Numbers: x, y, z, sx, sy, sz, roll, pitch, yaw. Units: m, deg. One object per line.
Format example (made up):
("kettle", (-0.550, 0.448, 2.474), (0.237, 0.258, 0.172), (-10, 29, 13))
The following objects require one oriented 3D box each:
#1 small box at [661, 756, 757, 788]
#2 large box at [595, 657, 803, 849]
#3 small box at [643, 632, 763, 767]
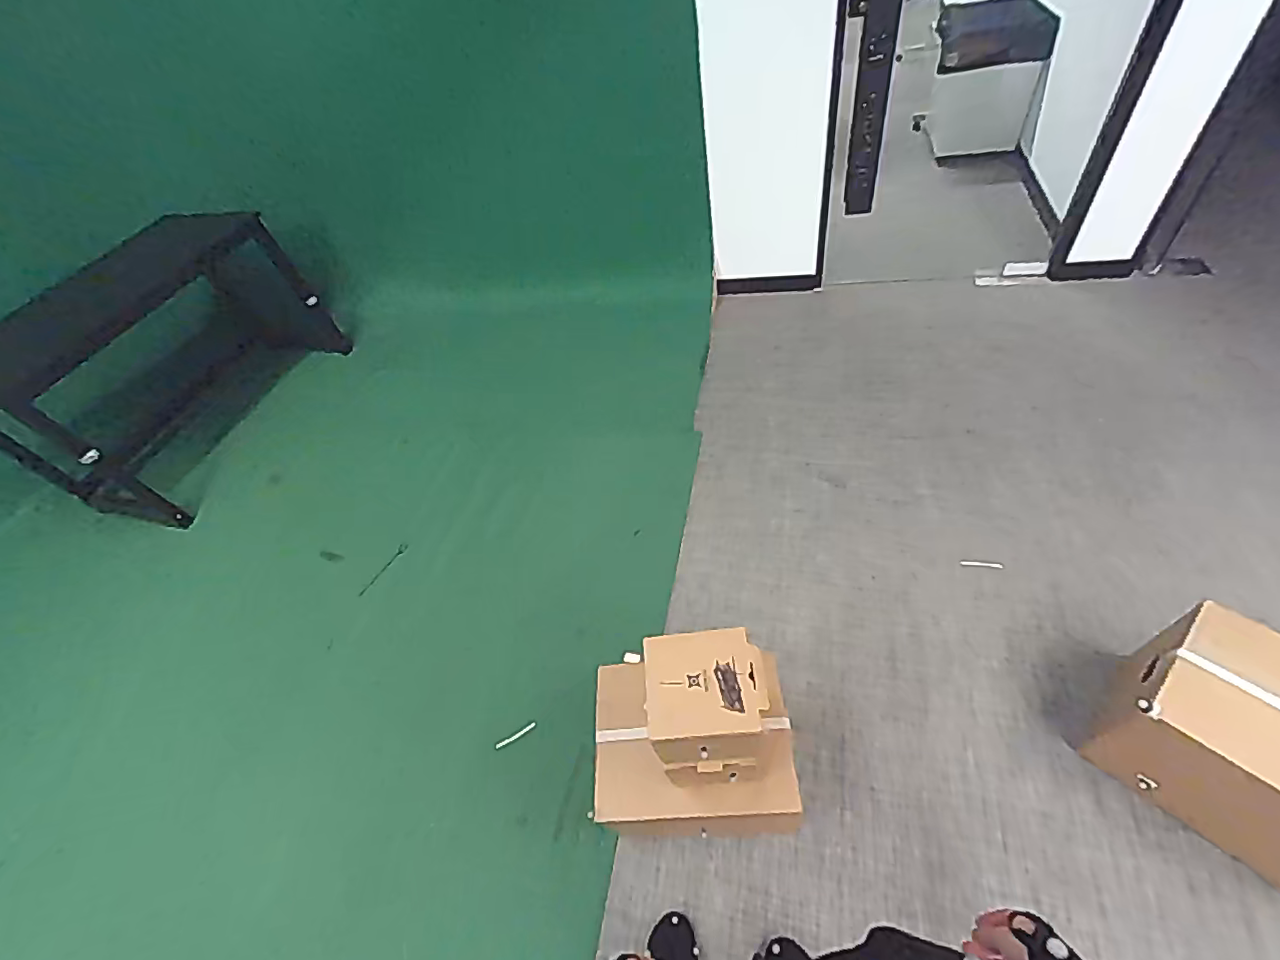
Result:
("small box", (0.131, 0.479, 1.034), (0.168, 0.176, 0.179), (-7, 49, 7))
("large box", (0.132, 0.630, 1.231), (0.408, 0.320, 0.320), (-9, 48, 8))
("small box", (0.105, 0.373, 0.911), (0.179, 0.176, 0.168), (-8, 49, 6))
